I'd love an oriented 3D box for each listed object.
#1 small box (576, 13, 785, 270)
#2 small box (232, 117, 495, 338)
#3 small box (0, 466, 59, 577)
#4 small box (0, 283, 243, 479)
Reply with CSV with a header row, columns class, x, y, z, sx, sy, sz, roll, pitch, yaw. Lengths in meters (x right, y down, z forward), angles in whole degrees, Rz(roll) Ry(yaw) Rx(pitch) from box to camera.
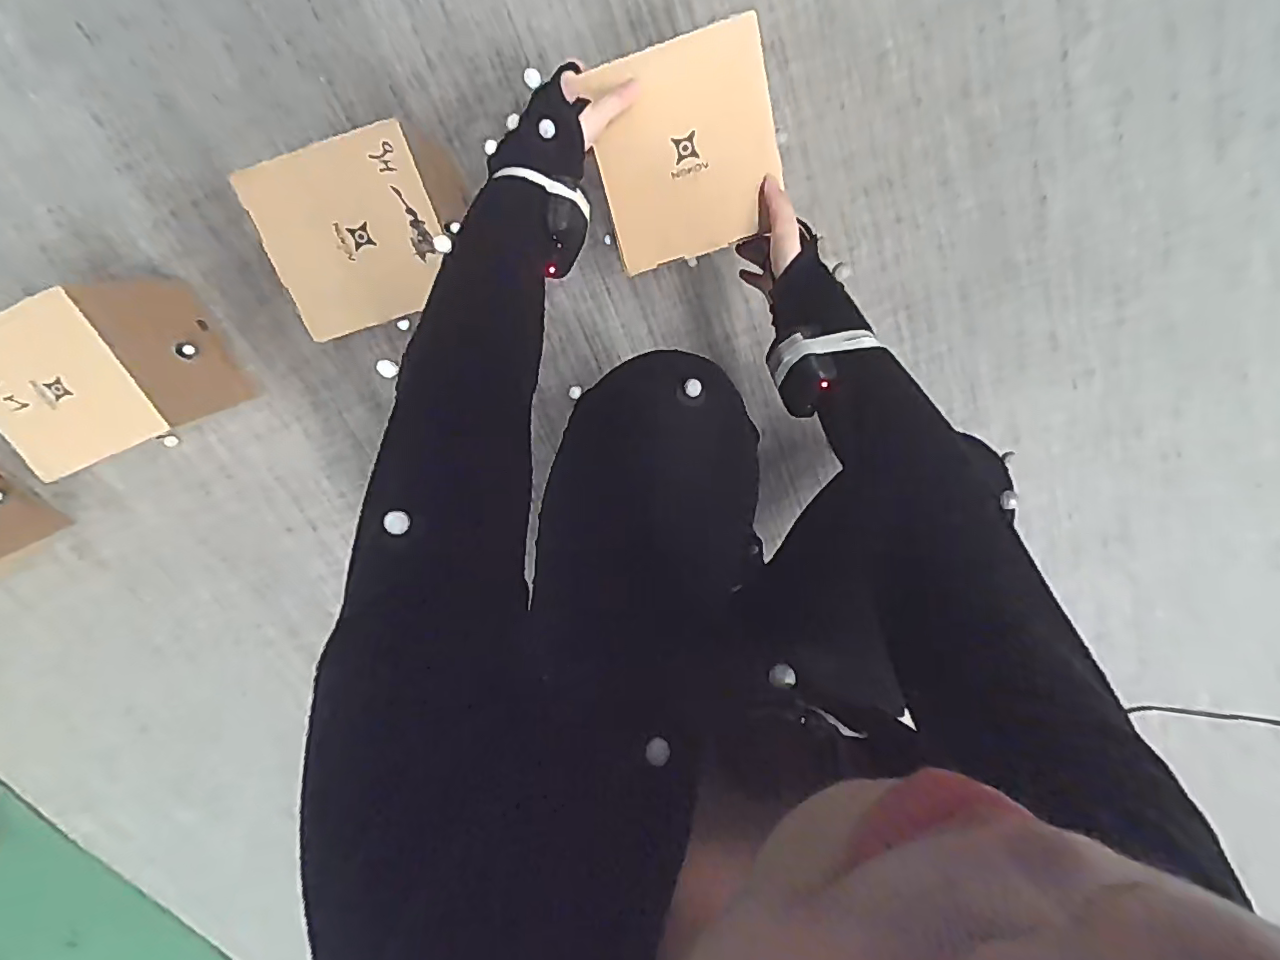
class,x,y,z,sx,sy,sz,roll,pitch,yaw
small box,0.043,-0.336,0.576,0.168,0.176,0.179,-14,112,8
small box,-0.287,-0.271,0.609,0.179,0.176,0.168,-16,112,5
small box,-0.965,0.078,0.721,0.179,0.176,0.168,-33,110,9
small box,-0.631,-0.129,0.652,0.179,0.176,0.168,-21,110,6
